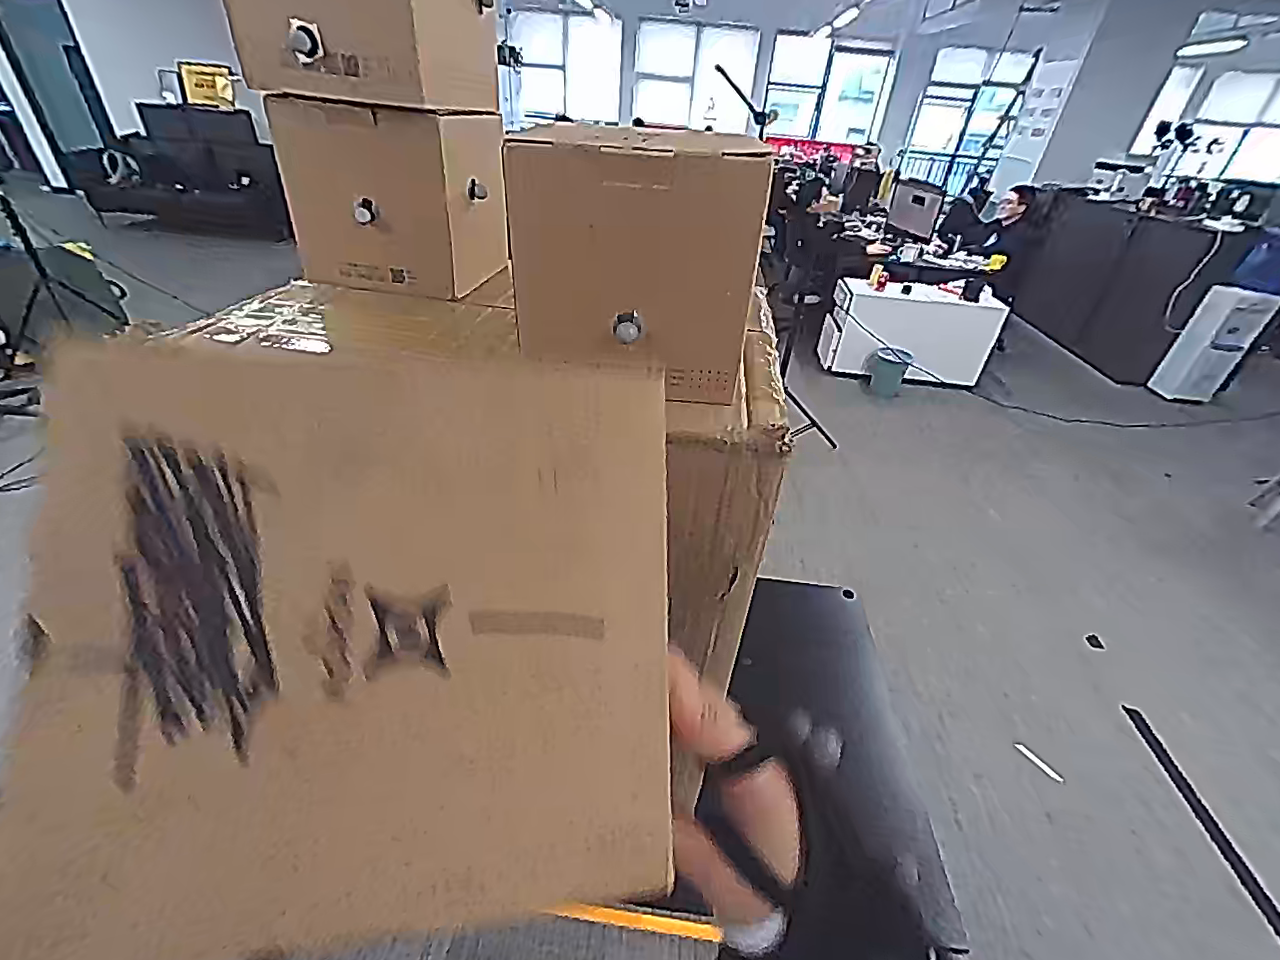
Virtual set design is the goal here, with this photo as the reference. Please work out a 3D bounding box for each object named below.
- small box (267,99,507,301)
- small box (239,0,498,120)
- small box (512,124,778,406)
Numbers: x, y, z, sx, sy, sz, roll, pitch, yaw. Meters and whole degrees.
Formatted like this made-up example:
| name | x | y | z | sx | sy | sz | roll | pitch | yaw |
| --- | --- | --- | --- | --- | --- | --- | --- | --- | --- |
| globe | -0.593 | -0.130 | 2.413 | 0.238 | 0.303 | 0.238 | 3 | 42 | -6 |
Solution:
| name | x | y | z | sx | sy | sz | roll | pitch | yaw |
| --- | --- | --- | --- | --- | --- | --- | --- | --- | --- |
| small box | -0.249 | -0.306 | 0.590 | 0.168 | 0.176 | 0.179 | 8 | 35 | 2 |
| small box | -0.235 | -0.431 | 0.485 | 0.168 | 0.176 | 0.179 | 8 | 35 | 4 |
| small box | 0.004 | -0.178 | 0.437 | 0.168 | 0.176 | 0.179 | 4 | 36 | 2 |
